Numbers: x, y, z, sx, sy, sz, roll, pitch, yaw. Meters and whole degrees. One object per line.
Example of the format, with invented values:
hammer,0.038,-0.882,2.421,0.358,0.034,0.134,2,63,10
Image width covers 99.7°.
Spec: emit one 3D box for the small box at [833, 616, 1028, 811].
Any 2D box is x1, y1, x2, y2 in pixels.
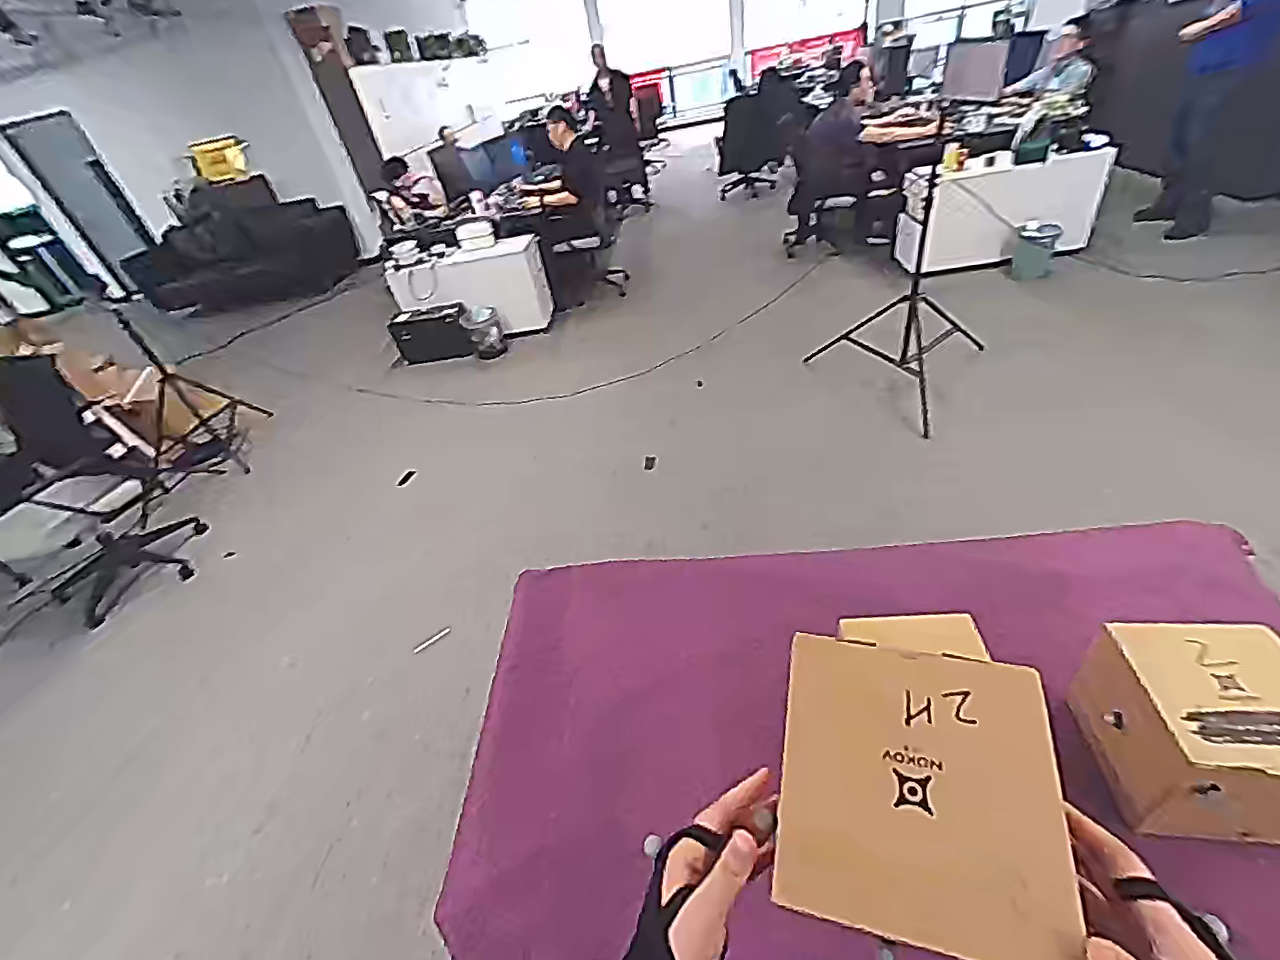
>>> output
small box,0.355,0.301,0.704,0.168,0.176,0.179,-5,39,9
